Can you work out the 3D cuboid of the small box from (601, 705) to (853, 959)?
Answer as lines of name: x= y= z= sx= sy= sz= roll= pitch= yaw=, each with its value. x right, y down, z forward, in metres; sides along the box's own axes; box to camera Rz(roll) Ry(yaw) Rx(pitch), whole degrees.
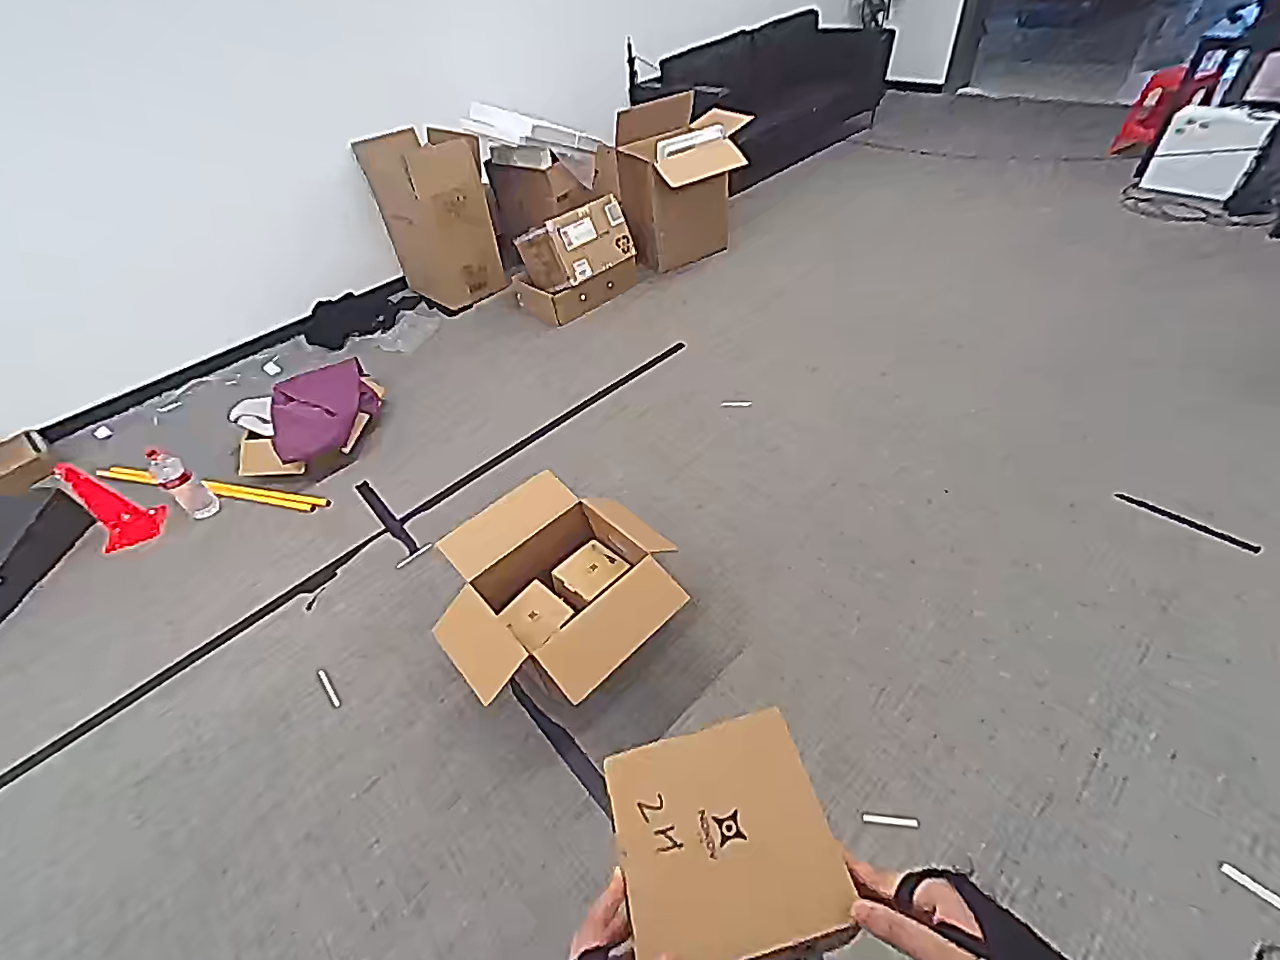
small box: x=0.073 y=0.345 z=0.512 sx=0.179 sy=0.176 sz=0.168 roll=-15 pitch=44 yaw=-2
